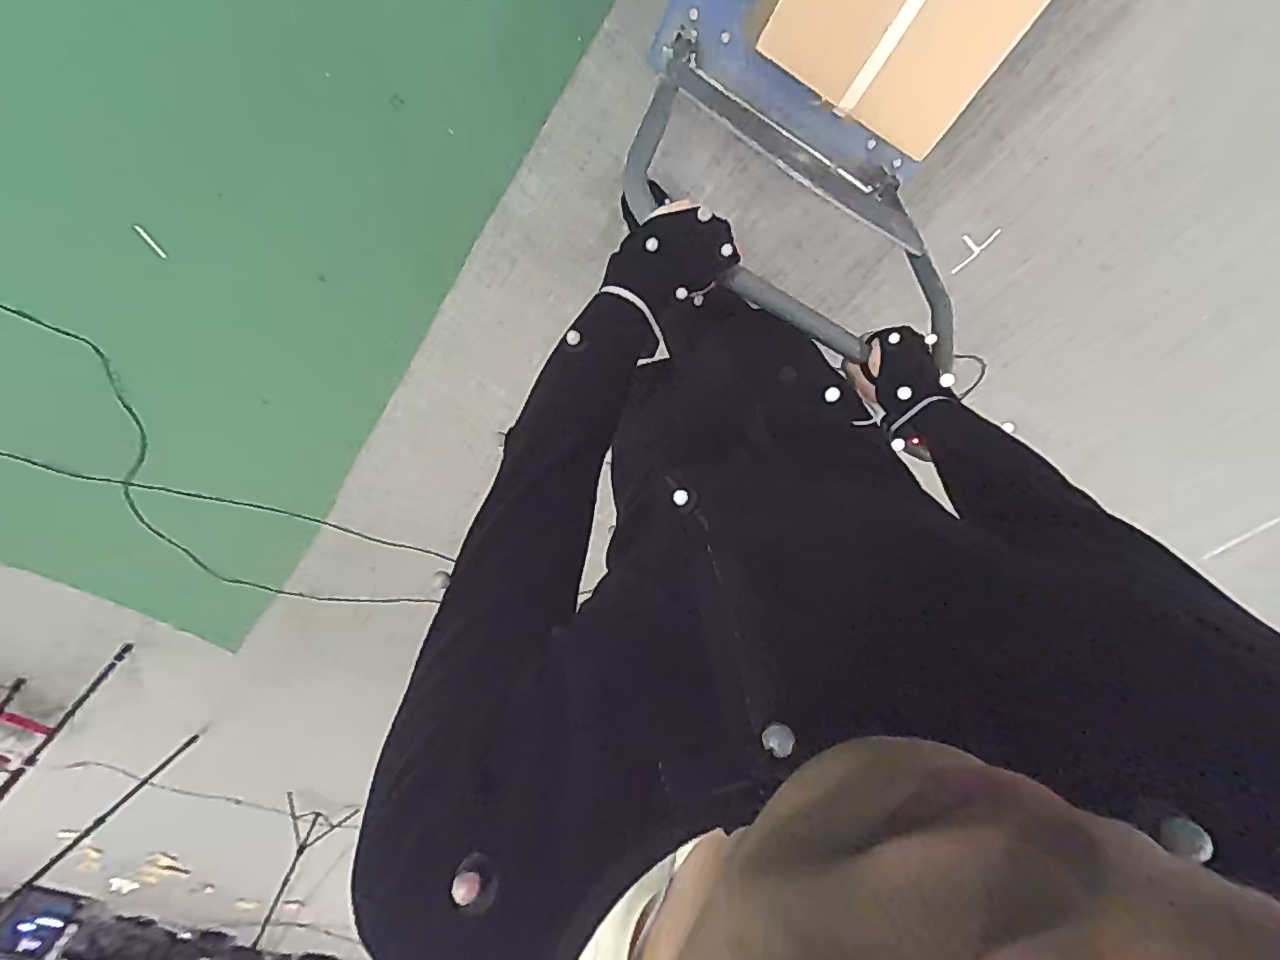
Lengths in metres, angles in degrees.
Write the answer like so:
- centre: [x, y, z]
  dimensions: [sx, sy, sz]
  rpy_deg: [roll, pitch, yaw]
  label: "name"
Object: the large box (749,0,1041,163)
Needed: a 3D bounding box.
- centre: [0.399, -0.779, 0.796]
  dimensions: [0.320, 0.320, 0.408]
  rpy_deg: [24, 132, -15]
  label: "large box"
